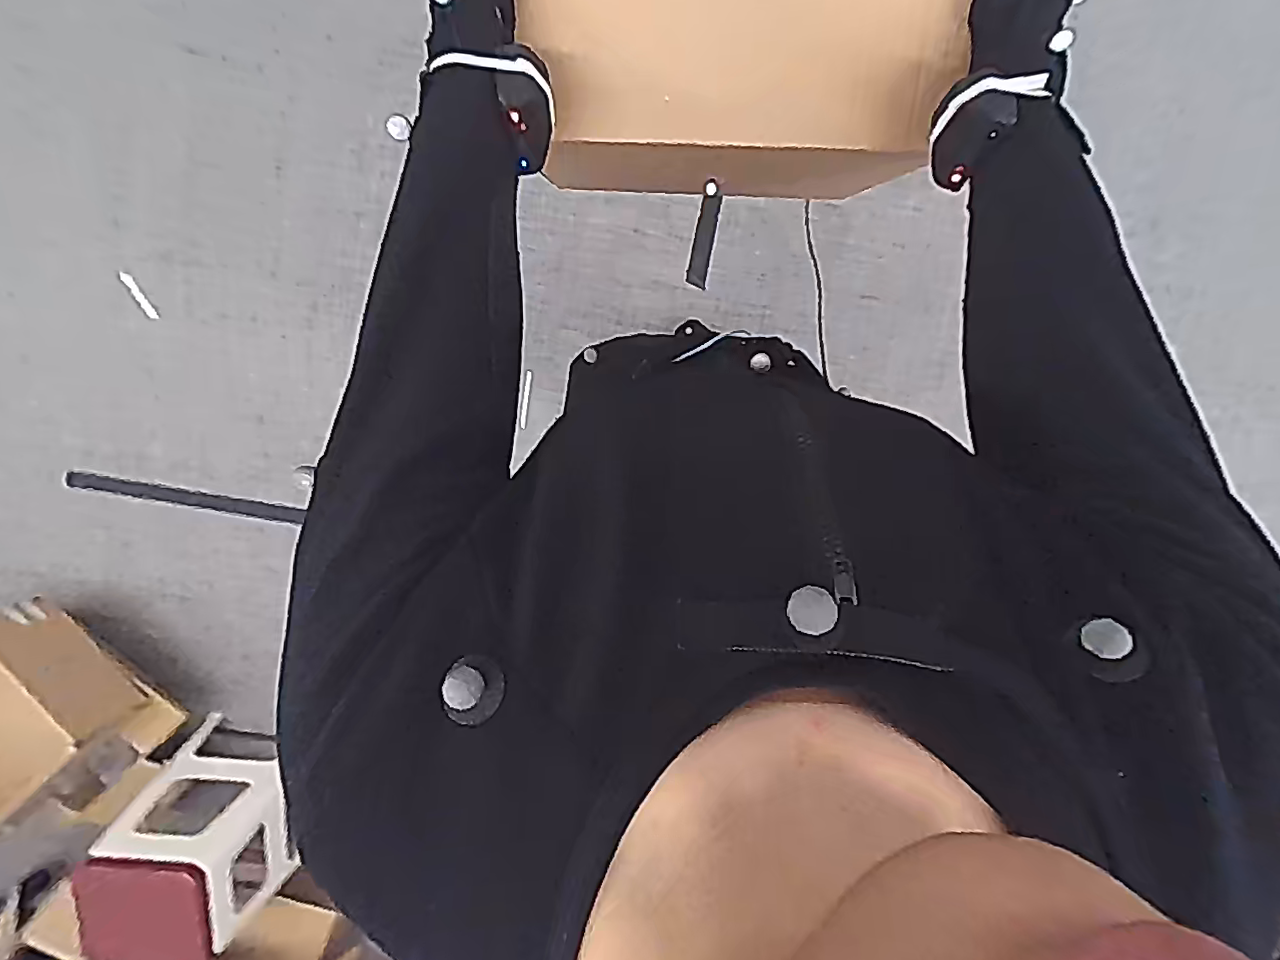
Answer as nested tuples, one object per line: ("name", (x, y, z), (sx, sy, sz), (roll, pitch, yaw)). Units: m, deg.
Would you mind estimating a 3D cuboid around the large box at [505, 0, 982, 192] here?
("large box", (0.091, -0.498, 0.569), (0.408, 0.320, 0.320), (3, 110, 0))
